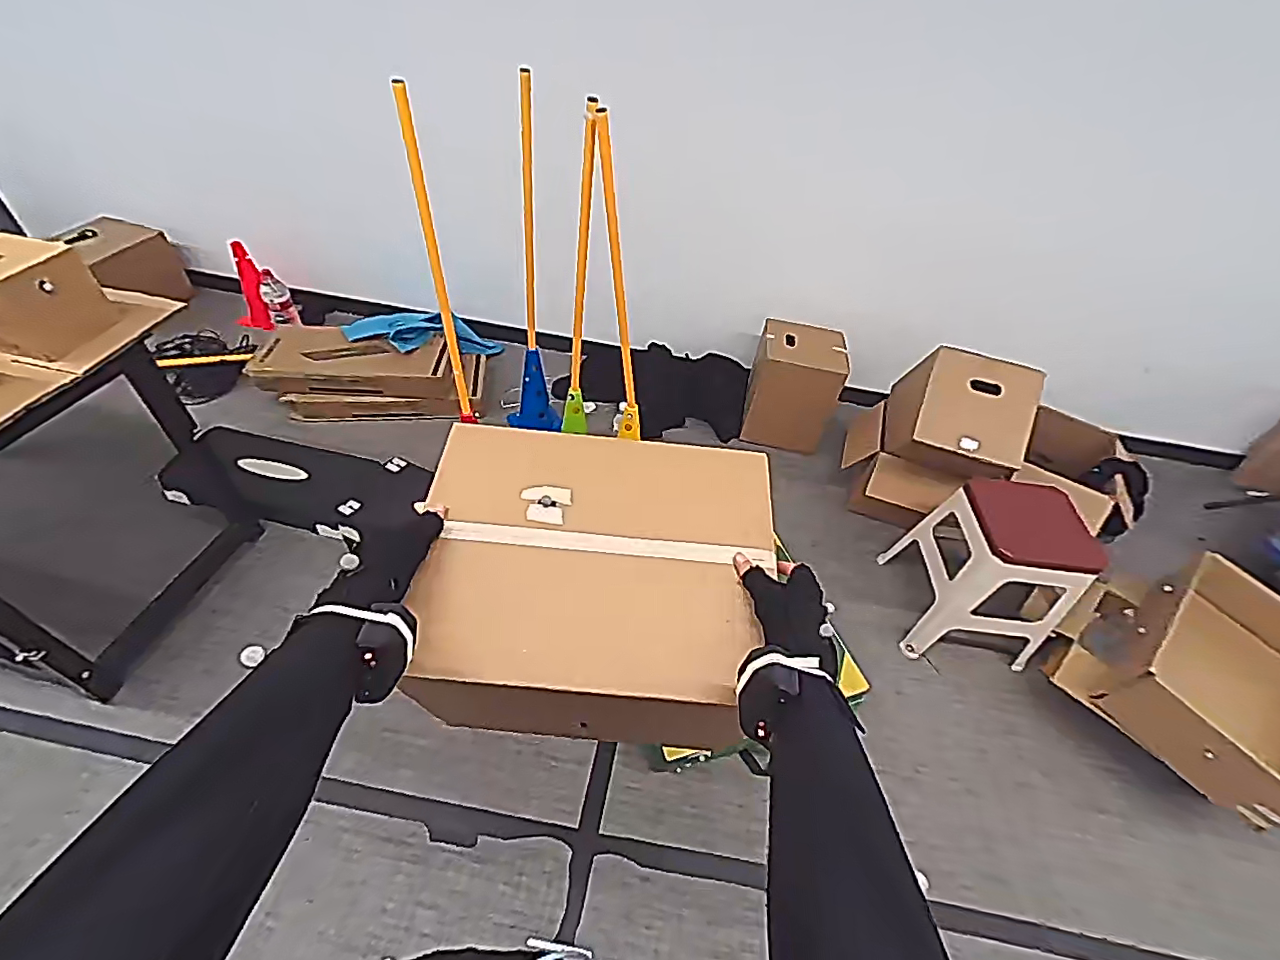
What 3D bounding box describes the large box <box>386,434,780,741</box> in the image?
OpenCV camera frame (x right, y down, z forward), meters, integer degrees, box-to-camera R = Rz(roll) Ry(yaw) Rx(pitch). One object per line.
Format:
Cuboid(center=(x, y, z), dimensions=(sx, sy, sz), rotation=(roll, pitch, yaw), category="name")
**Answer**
Cuboid(center=(-0.055, 0.163, 0.745), dimensions=(0.408, 0.320, 0.320), rotation=(5, 56, -1), category="large box")
